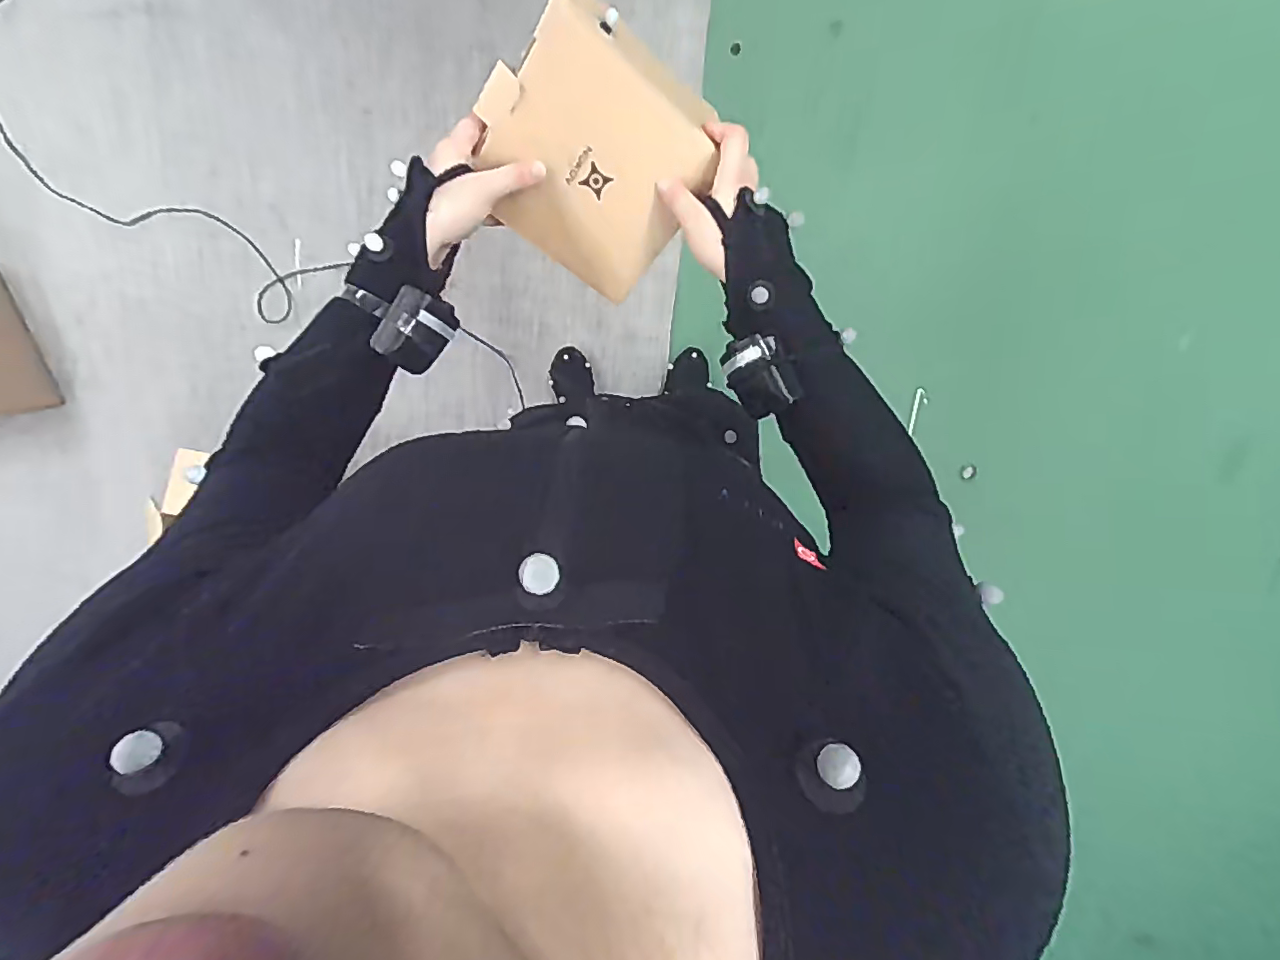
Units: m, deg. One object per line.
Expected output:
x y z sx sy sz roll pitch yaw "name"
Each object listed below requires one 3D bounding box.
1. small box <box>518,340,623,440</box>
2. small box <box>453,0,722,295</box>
-0.165 -0.226 1.350 0.176 0.168 0.179 37 80 -35 "small box"
-0.042 -0.321 0.512 0.179 0.176 0.168 30 130 -24 "small box"
